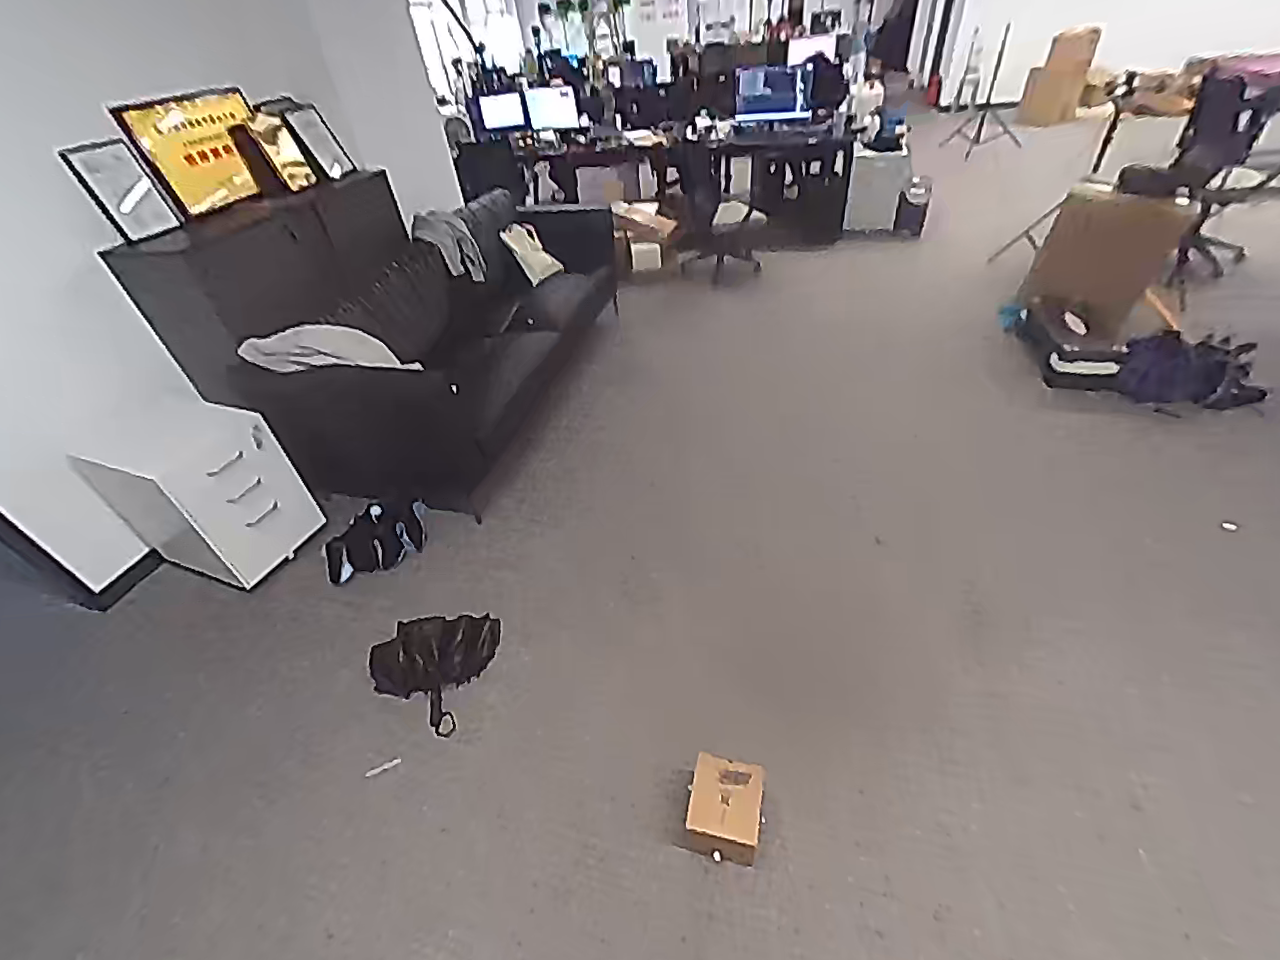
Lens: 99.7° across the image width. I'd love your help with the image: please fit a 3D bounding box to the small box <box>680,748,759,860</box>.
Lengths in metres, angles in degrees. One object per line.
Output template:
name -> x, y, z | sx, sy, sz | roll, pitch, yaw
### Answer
small box -> 0.198, 0.799, 1.334 | 0.168, 0.176, 0.179 | 6, 44, 15
